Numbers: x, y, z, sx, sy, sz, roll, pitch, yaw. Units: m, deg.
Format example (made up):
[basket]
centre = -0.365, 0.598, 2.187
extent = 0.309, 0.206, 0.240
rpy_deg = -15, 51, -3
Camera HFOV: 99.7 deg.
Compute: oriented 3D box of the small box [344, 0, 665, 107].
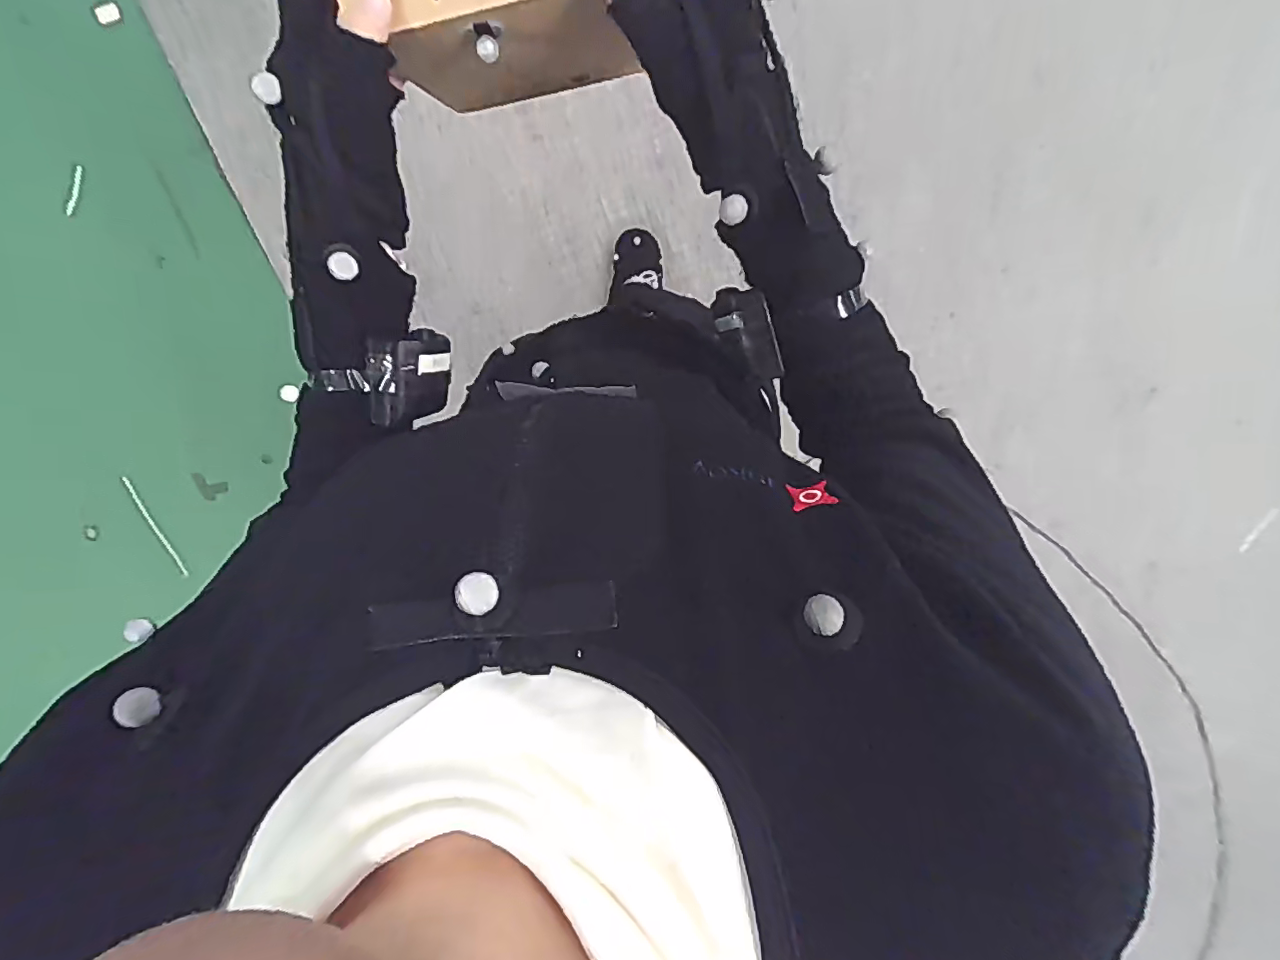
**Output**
[small box]
centre = -0.080, -0.351, 0.313
extent = 0.168, 0.176, 0.179
rpy_deg = -9, 113, 6
